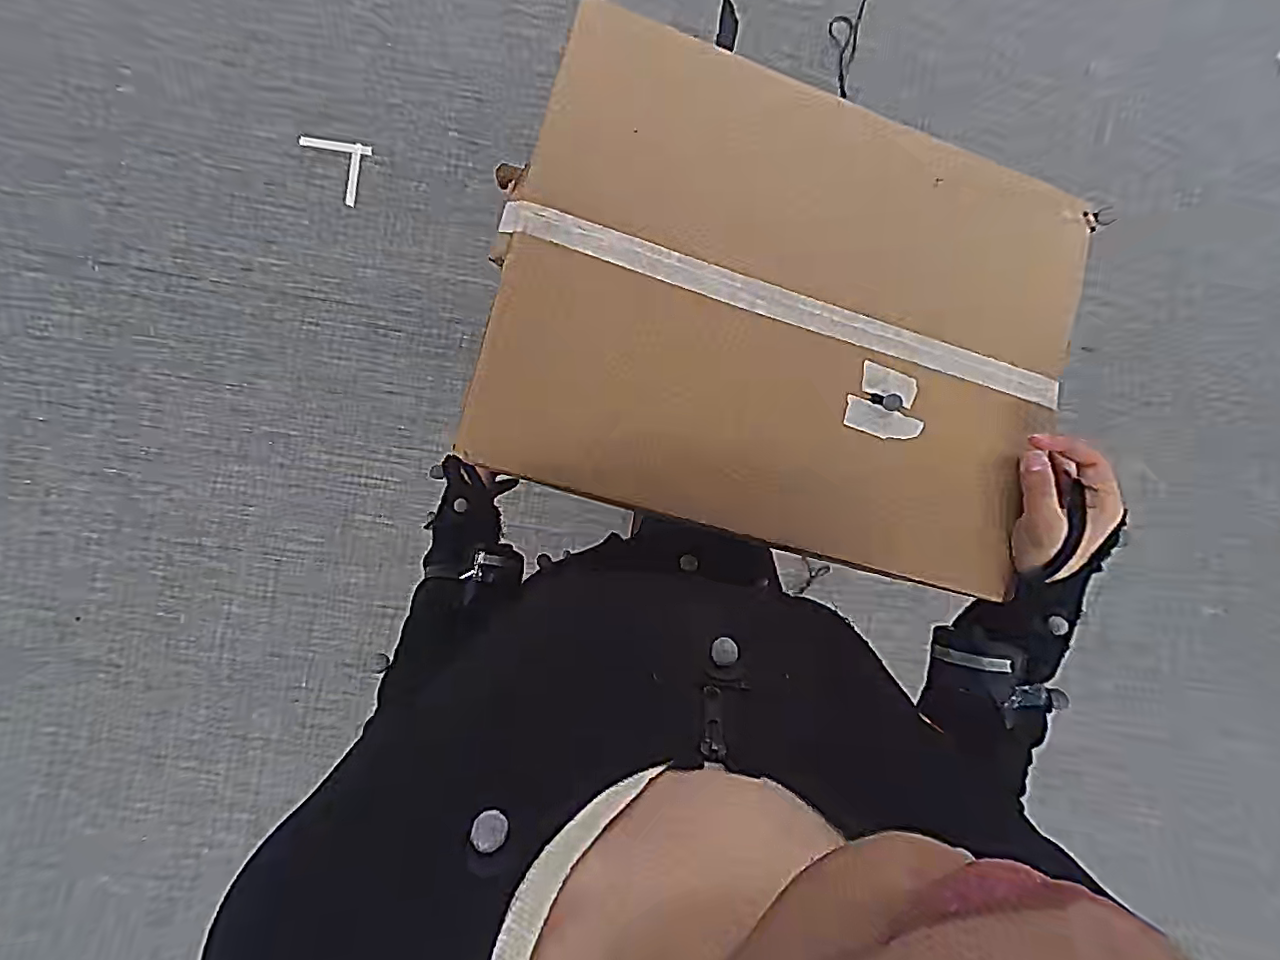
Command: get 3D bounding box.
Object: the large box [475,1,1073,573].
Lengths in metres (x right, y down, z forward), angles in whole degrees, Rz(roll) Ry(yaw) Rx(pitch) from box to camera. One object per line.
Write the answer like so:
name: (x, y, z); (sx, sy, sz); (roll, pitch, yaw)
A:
large box: (0.088, -0.120, 0.525); (0.408, 0.320, 0.320); (15, 87, -11)
